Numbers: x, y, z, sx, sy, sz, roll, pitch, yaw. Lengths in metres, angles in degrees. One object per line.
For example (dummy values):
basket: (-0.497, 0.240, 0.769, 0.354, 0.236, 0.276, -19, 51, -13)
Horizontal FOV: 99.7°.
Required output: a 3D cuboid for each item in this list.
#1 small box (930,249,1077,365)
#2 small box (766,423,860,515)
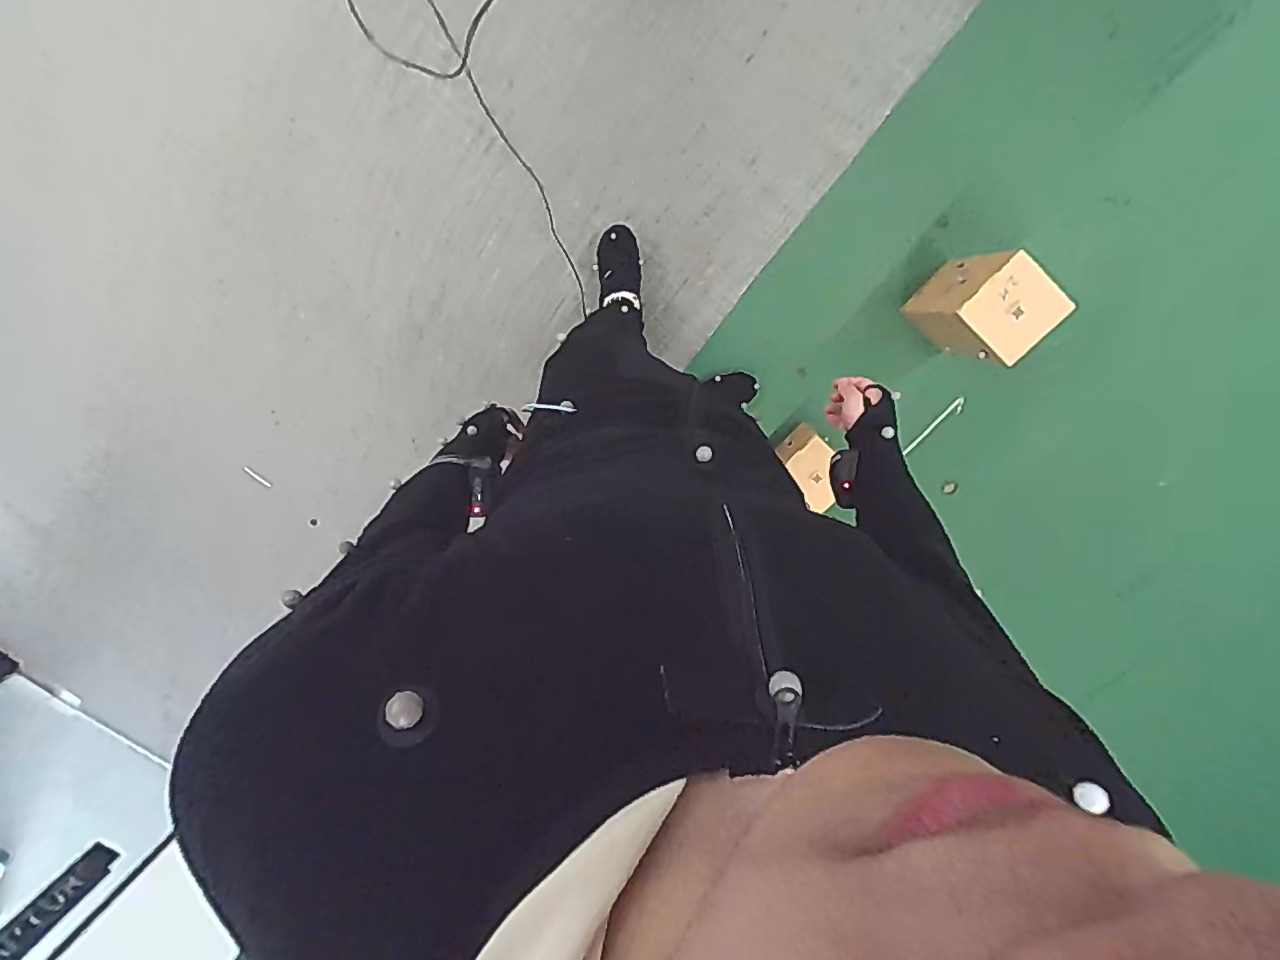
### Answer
small box: (0.790, -0.381, 1.194, 0.179, 0.176, 0.168, 41, 107, -8)
small box: (0.478, -0.038, 1.518, 0.179, 0.176, 0.168, 40, 108, -7)
